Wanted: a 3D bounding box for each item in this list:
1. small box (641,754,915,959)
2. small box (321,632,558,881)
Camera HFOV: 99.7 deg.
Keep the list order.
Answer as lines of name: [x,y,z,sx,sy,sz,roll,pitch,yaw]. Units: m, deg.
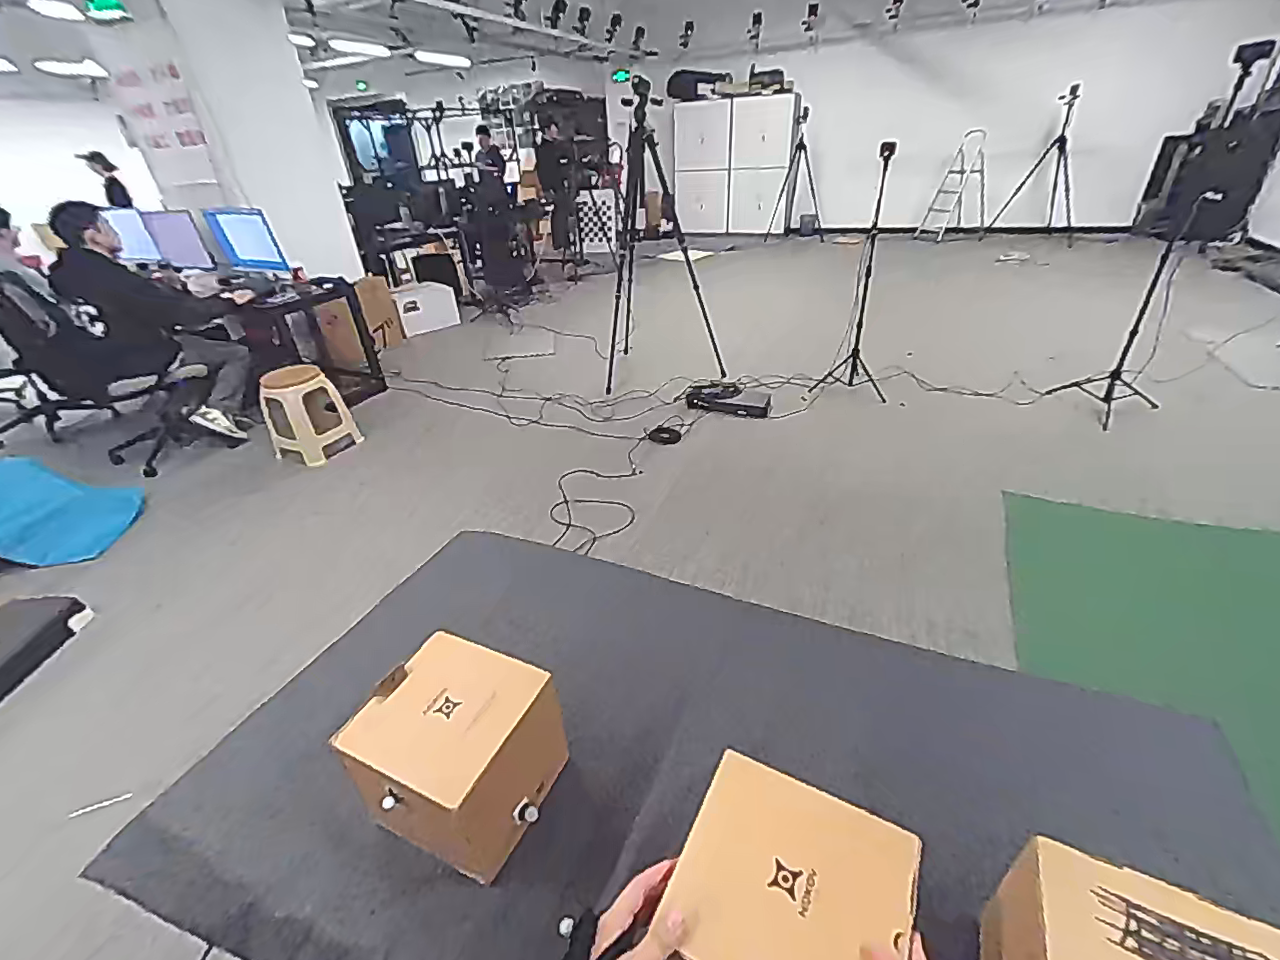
small box: [0.117,0.389,0.467,0.179,0.176,0.168,14,36,26]
small box: [-0.214,0.313,0.623,0.179,0.176,0.168,12,35,22]
